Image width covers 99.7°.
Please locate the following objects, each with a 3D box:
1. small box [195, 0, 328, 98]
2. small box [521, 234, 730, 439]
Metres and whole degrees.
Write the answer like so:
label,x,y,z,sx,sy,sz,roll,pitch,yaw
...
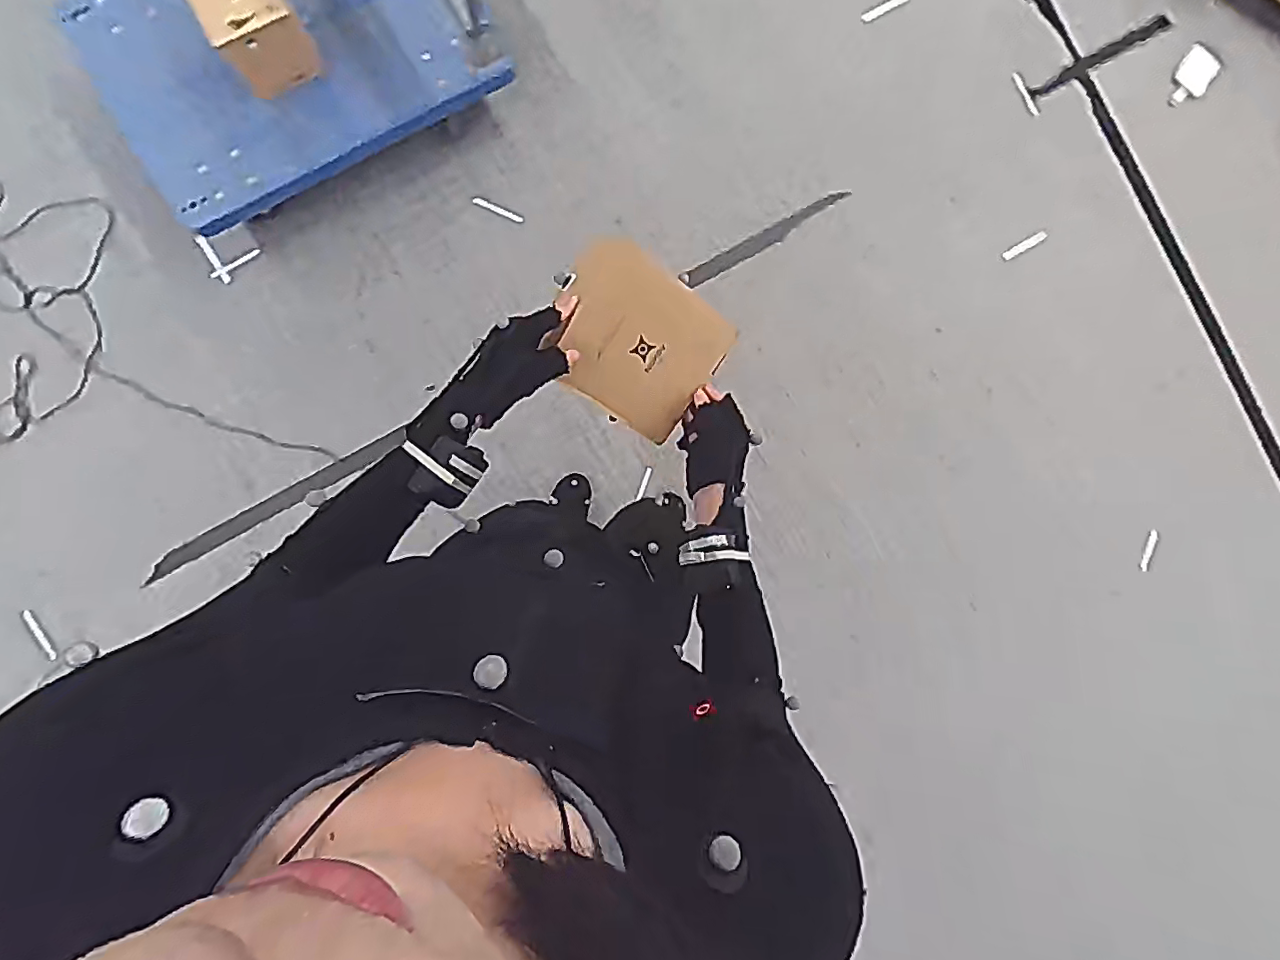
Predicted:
label,x,y,z,sx,sy,sz,roll,pitch,yaw
small box,-0.827,-0.992,1.176,0.168,0.176,0.179,-28,92,-4
small box,-0.029,-0.181,0.668,0.179,0.176,0.168,28,102,-26
